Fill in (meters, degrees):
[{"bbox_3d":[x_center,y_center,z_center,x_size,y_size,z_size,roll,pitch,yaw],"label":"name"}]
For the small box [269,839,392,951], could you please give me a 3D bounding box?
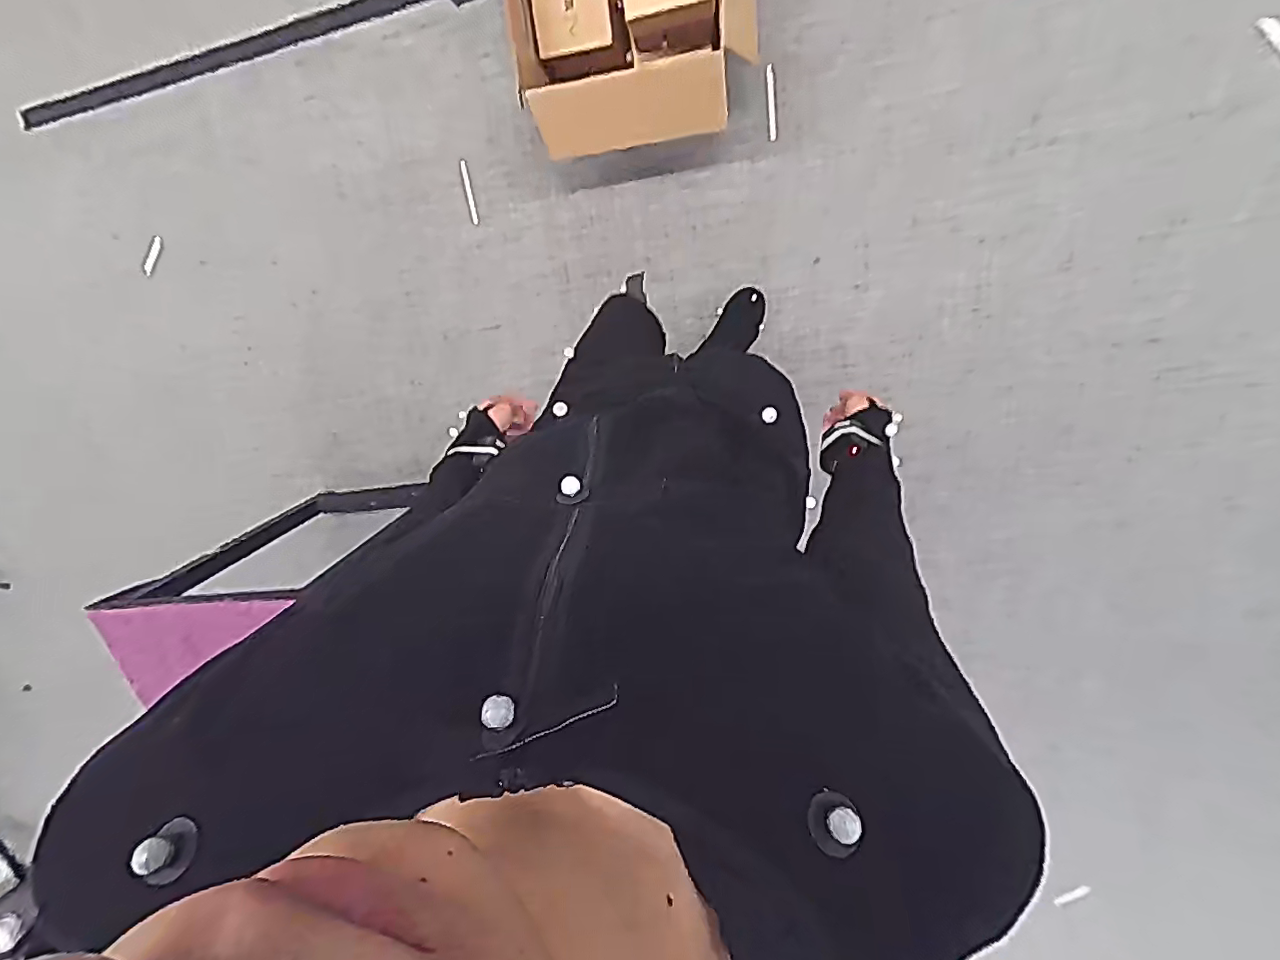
[{"bbox_3d":[-0.772,1.040,1.367,0.179,0.176,0.168,-9,110,13],"label":"small box"}]
